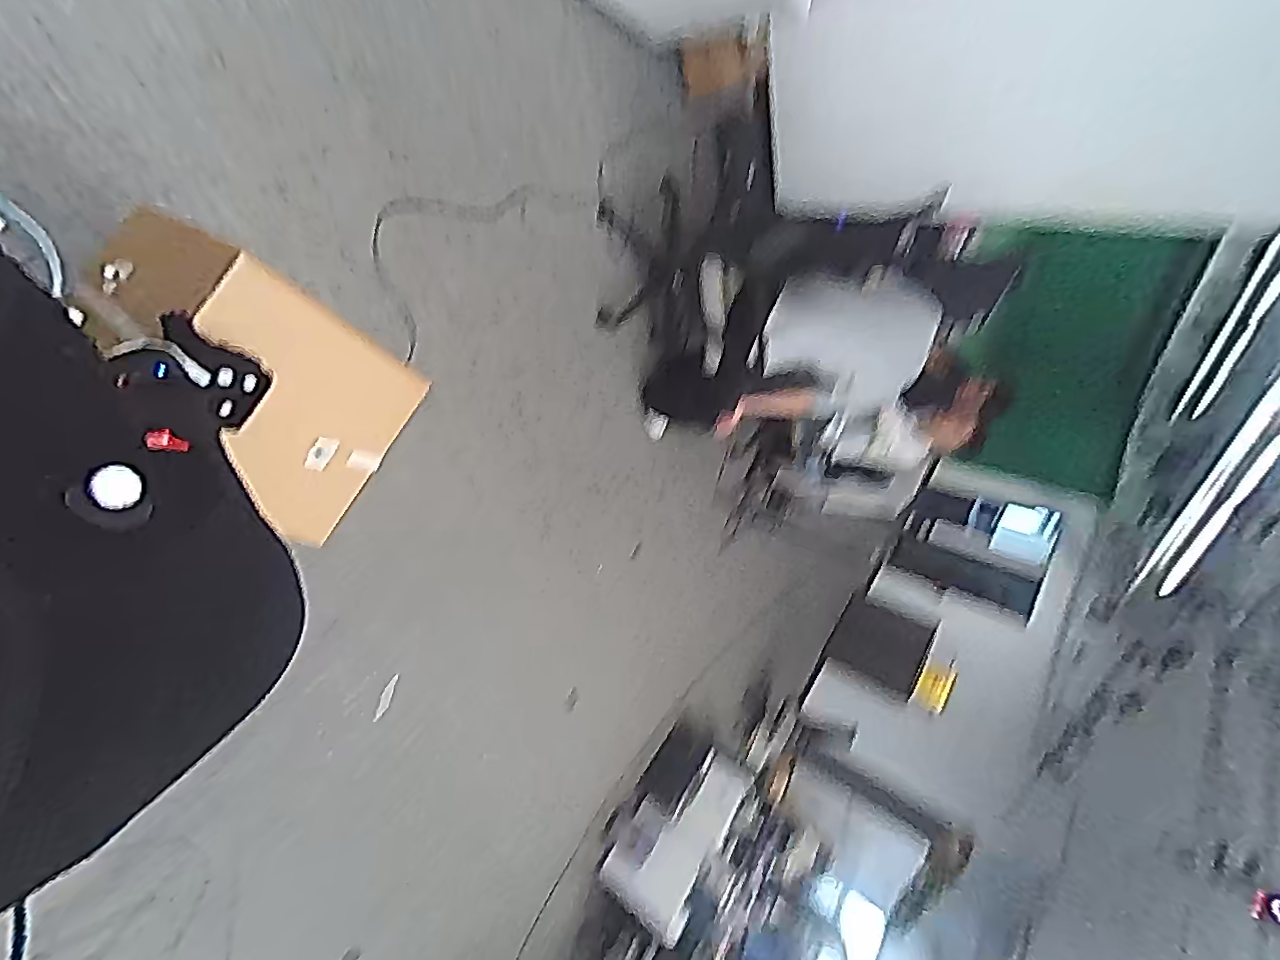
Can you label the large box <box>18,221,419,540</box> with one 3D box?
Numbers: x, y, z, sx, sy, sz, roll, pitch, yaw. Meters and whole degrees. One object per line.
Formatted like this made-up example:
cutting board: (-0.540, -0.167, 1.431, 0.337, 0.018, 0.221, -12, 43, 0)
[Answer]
large box: (-0.642, -0.151, 0.848, 0.320, 0.408, 0.320, -59, 148, -8)
